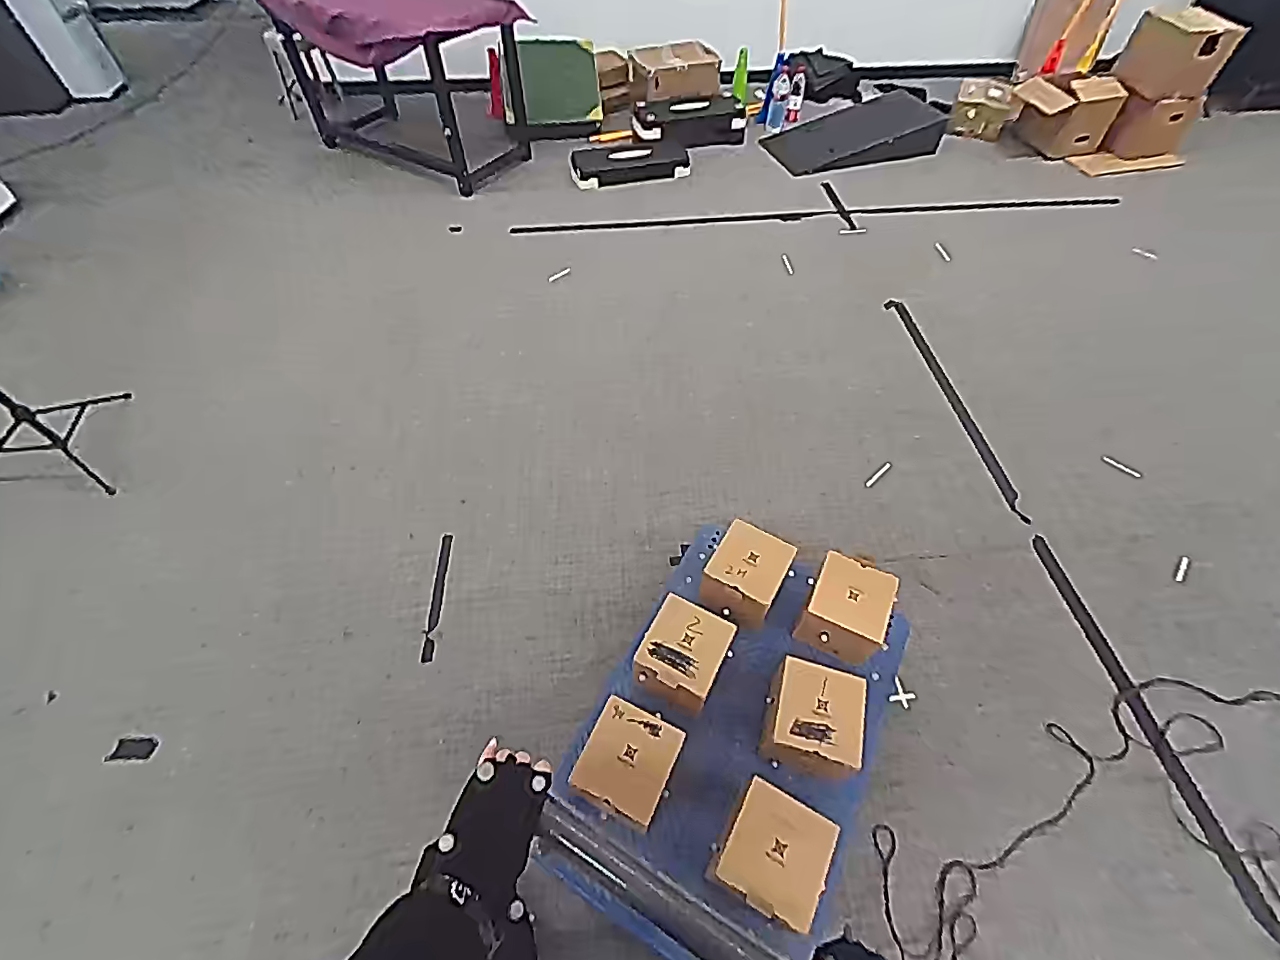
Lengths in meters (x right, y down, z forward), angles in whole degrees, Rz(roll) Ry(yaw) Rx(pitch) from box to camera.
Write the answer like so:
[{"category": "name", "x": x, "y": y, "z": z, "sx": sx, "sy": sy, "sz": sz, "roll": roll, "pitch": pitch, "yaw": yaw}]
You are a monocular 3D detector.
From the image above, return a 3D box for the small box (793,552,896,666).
[{"category": "small box", "x": 0.476, "y": 0.310, "z": 1.279, "sx": 0.168, "sy": 0.176, "sz": 0.179, "roll": 23, "pitch": 56, "yaw": 16}]

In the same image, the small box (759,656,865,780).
[{"category": "small box", "x": 0.354, "y": 0.503, "z": 1.132, "sx": 0.168, "sy": 0.176, "sz": 0.179, "roll": 16, "pitch": 54, "yaw": 11}]

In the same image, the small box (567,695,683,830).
[{"category": "small box", "x": -0.025, "y": 0.567, "z": 1.079, "sx": 0.168, "sy": 0.176, "sz": 0.179, "roll": 23, "pitch": 56, "yaw": 15}]

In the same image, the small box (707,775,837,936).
[{"category": "small box", "x": 0.234, "y": 0.686, "z": 0.995, "sx": 0.168, "sy": 0.176, "sz": 0.179, "roll": 27, "pitch": 56, "yaw": 17}]

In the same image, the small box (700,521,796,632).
[{"category": "small box", "x": 0.257, "y": 0.239, "z": 1.327, "sx": 0.168, "sy": 0.176, "sz": 0.179, "roll": 27, "pitch": 58, "yaw": 18}]
